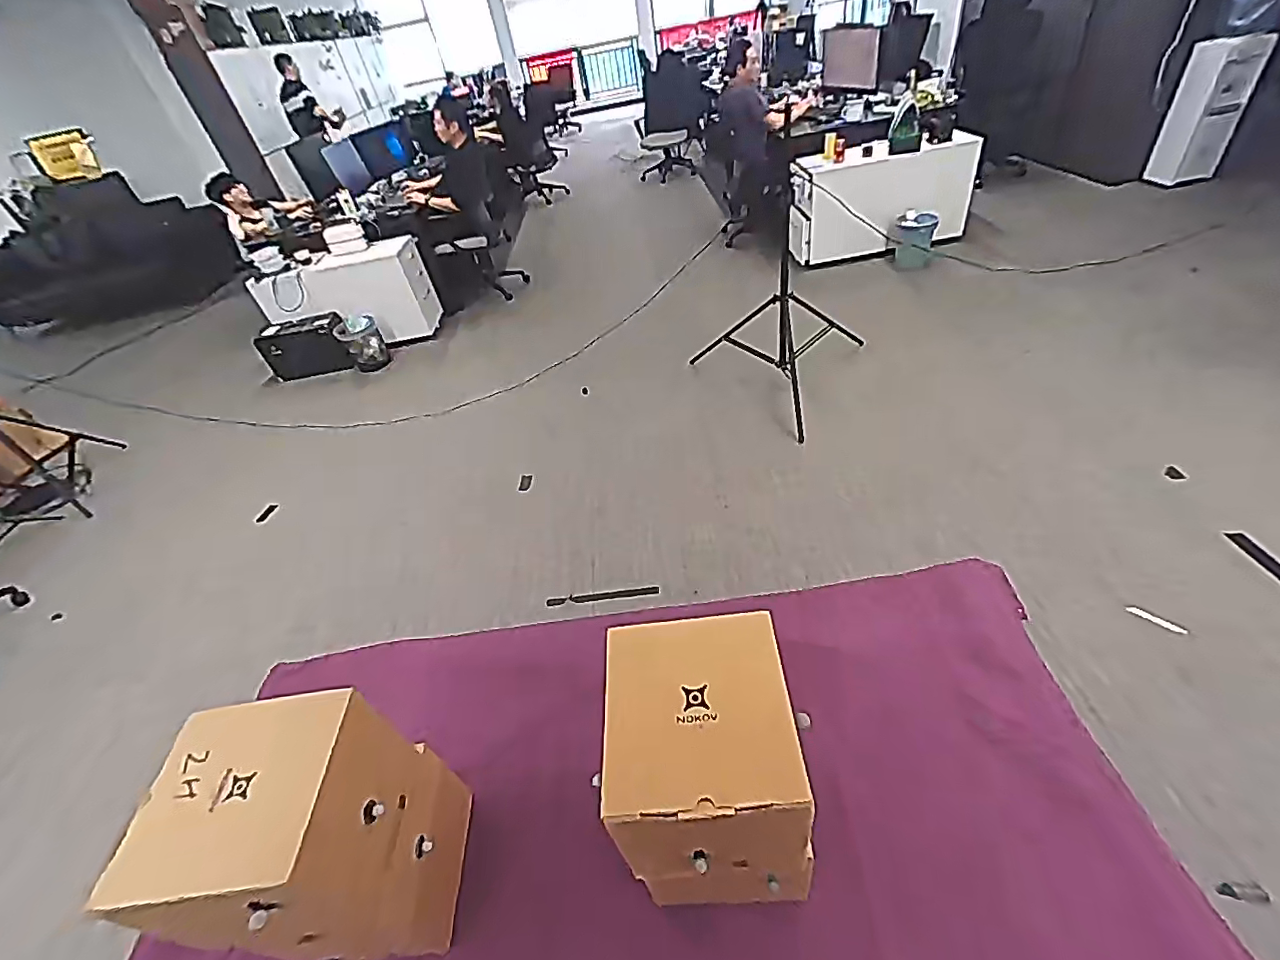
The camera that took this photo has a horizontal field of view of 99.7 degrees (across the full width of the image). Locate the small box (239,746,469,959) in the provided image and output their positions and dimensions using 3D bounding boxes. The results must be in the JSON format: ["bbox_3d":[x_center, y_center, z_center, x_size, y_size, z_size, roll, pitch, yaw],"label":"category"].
[{"bbox_3d":[-0.323,0.453,0.652,0.168,0.176,0.179,-9,40,3],"label":"small box"}]

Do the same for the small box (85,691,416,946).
[{"bbox_3d":[-0.351,0.336,0.538,0.179,0.176,0.168,-10,41,3],"label":"small box"}]

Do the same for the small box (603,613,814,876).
[{"bbox_3d":[0.062,0.257,0.530,0.168,0.176,0.179,-8,41,5],"label":"small box"}]
